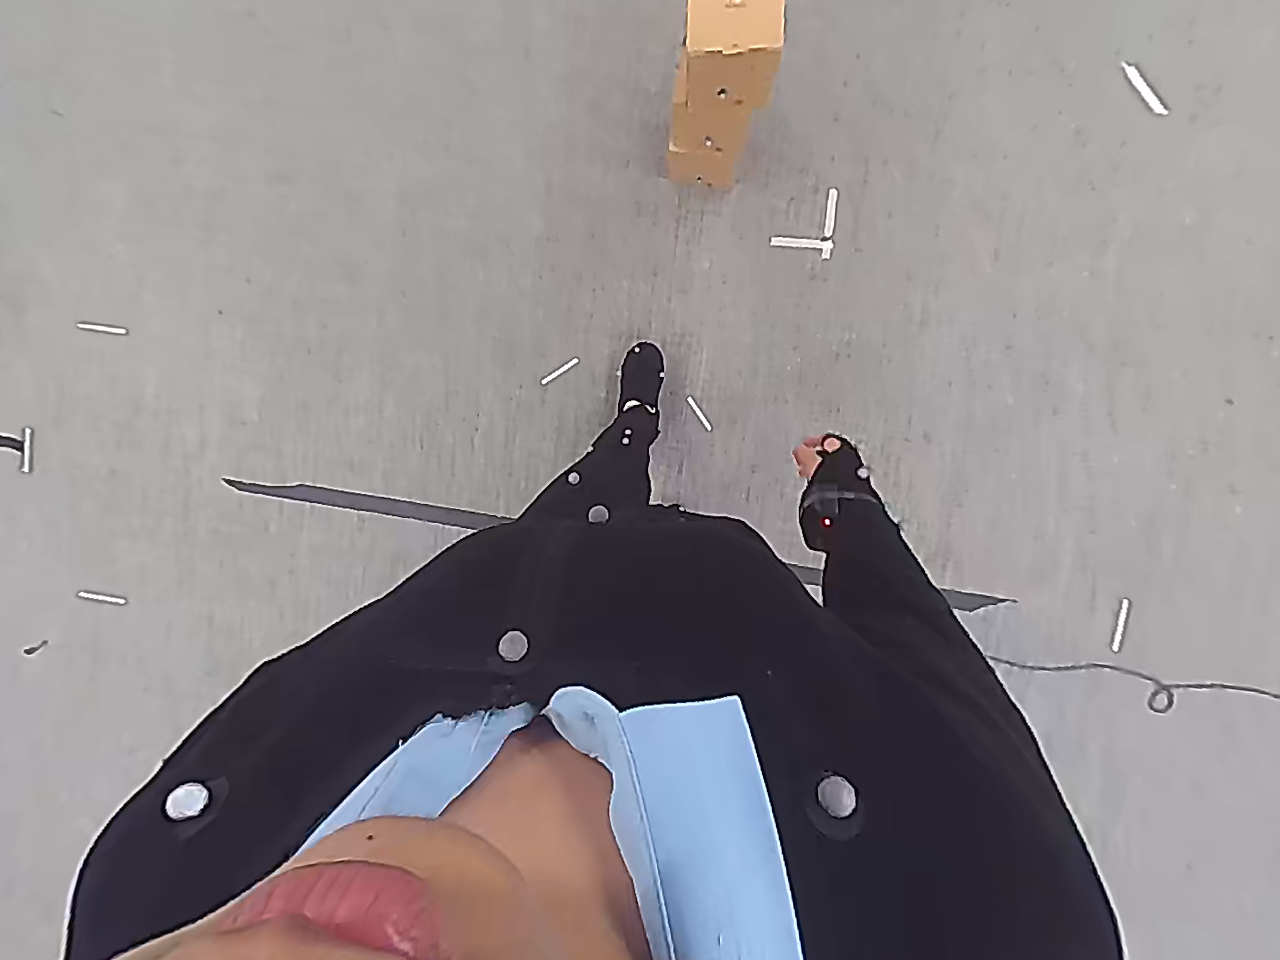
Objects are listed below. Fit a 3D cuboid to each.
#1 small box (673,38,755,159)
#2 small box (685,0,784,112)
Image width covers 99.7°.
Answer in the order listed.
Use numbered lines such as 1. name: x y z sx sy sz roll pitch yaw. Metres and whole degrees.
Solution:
1. small box: 0.167 -0.831 1.157 0.168 0.176 0.179 12 95 5
2. small box: 0.167 -0.818 0.994 0.168 0.176 0.179 0 94 5
